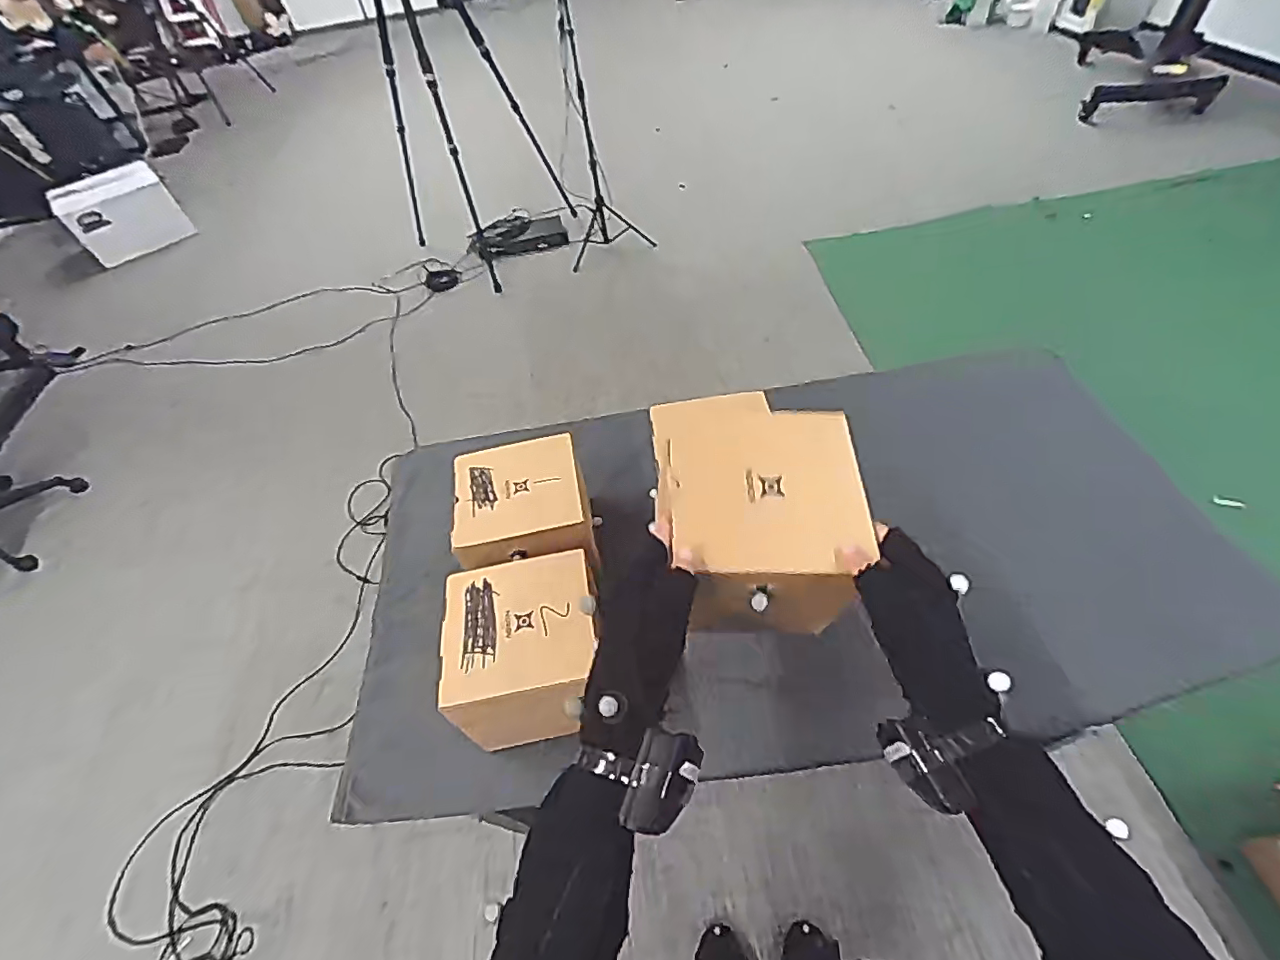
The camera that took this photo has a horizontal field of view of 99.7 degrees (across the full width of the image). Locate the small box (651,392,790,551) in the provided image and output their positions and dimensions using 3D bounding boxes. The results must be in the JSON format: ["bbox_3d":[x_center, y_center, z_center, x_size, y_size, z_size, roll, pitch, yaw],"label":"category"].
[{"bbox_3d":[0.114,-0.009,0.822,0.179,0.176,0.168,-8,51,2],"label":"small box"}]
